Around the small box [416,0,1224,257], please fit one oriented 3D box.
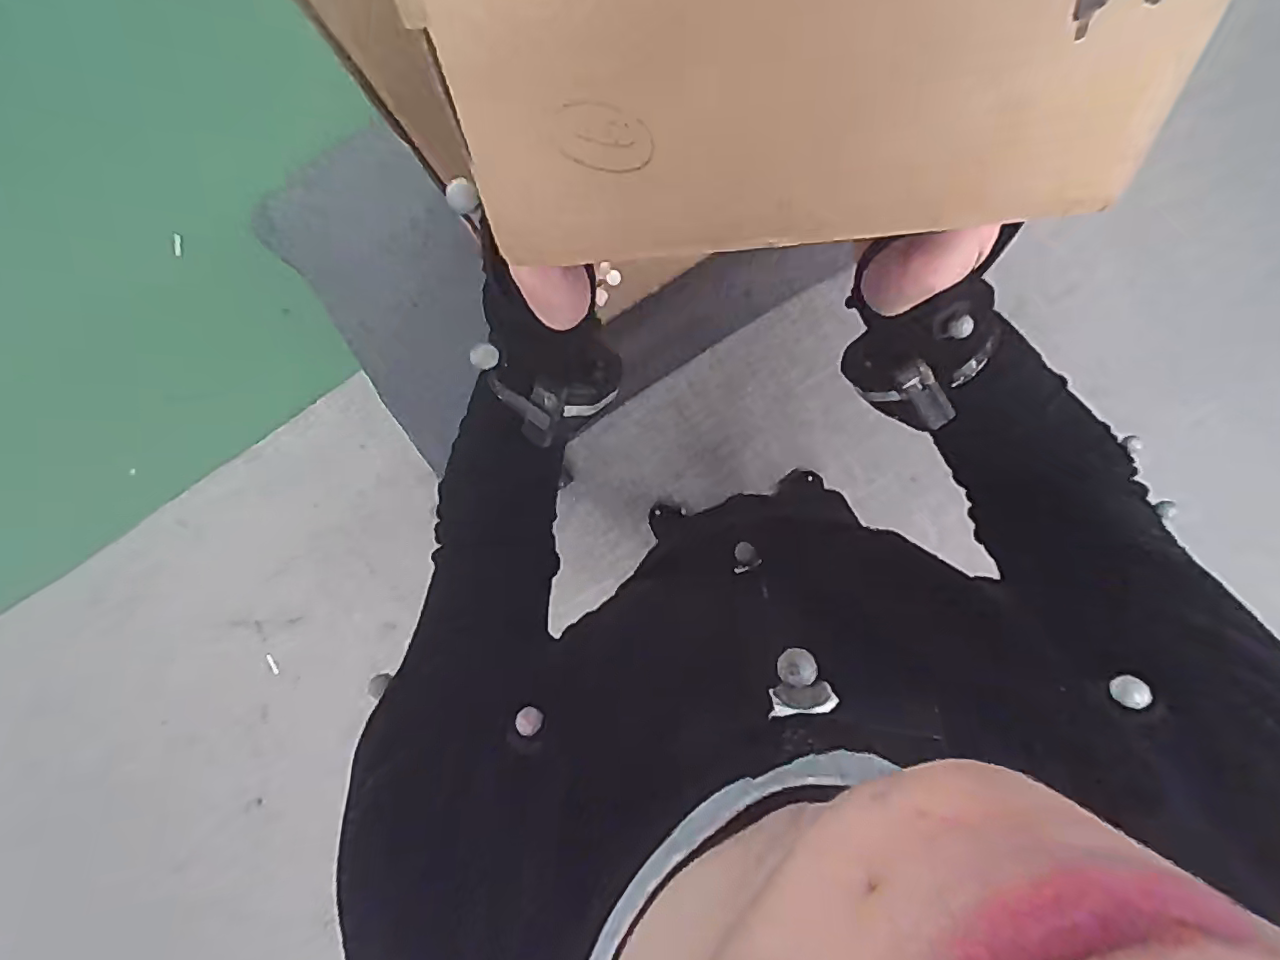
[{"bbox_3d":[0.039,-0.184,0.147,0.179,0.168,0.176,0,53,9],"label":"small box"}]
